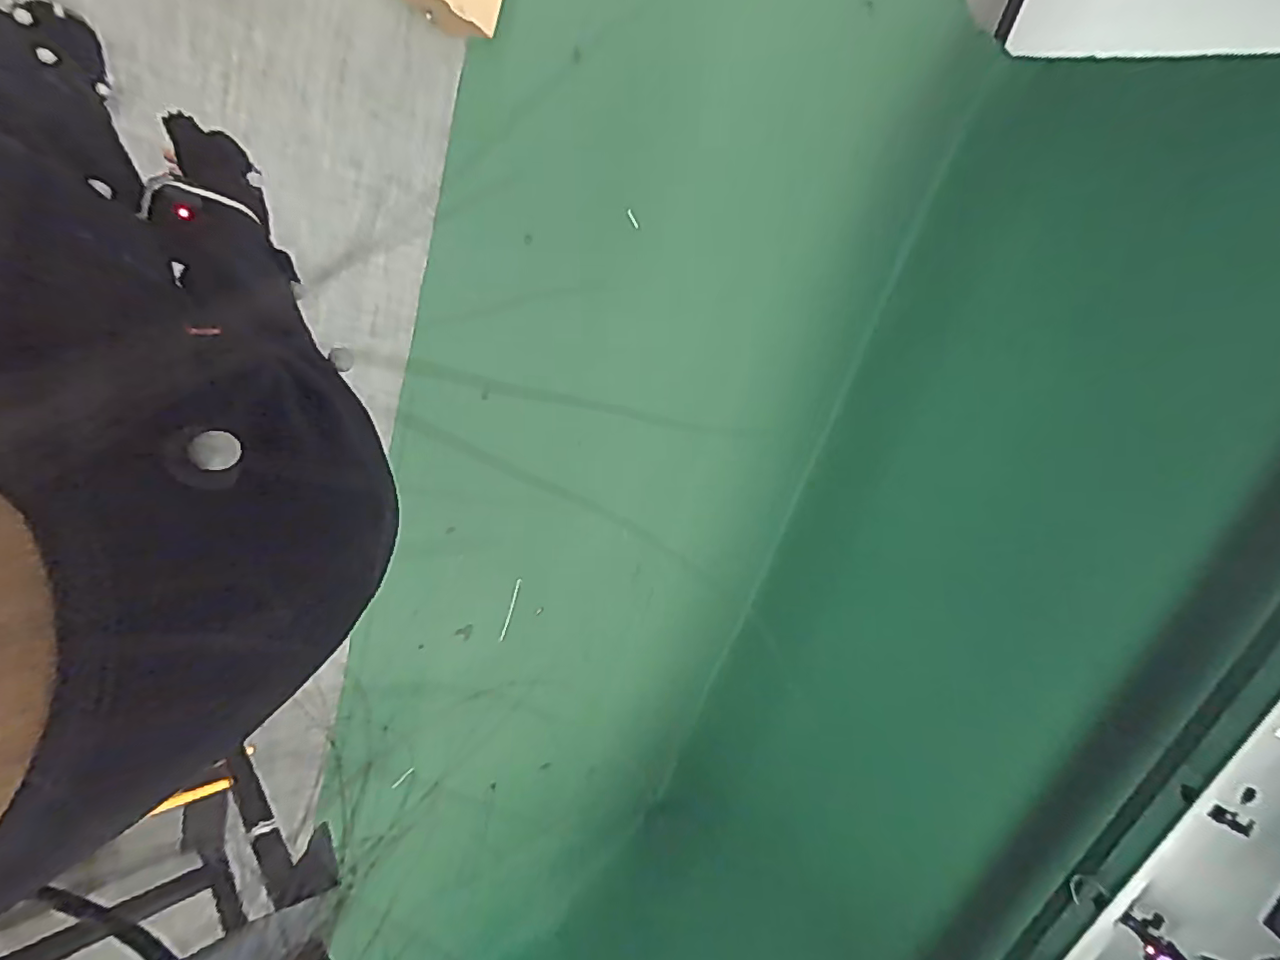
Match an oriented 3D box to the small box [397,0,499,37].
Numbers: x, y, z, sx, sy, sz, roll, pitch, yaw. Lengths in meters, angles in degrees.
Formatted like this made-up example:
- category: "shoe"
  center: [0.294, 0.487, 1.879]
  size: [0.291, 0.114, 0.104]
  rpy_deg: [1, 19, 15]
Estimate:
- category: "small box"
  center: [-0.410, -1.089, 1.149]
  size: [0.168, 0.176, 0.179]
  rpy_deg: [0, 116, -50]
